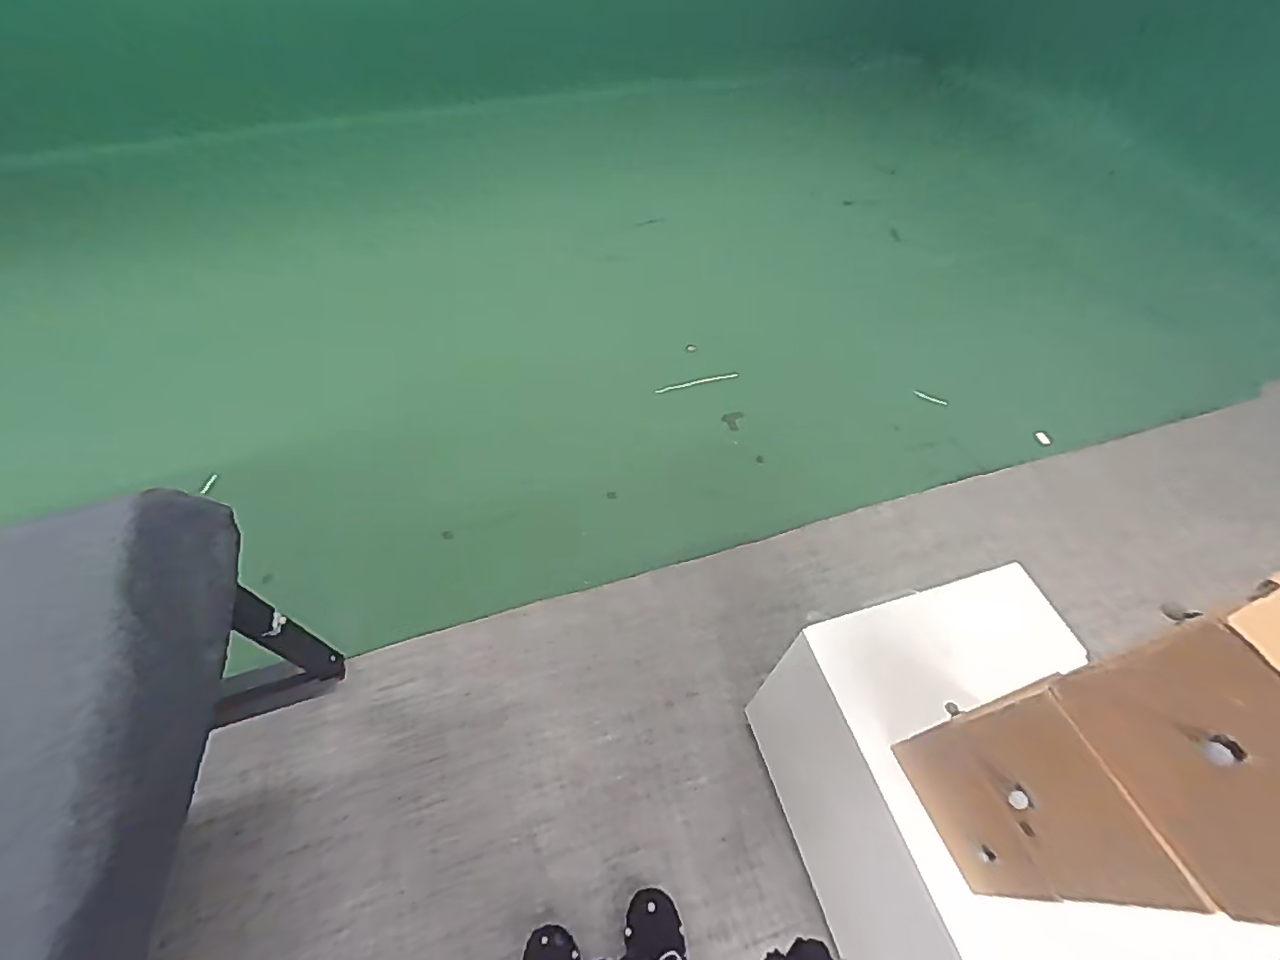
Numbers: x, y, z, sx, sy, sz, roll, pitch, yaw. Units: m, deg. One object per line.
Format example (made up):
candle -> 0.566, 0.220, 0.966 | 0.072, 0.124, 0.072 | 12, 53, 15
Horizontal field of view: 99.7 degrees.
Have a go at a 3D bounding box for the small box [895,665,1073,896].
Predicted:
small box -> 0.444, 0.349, 0.636 | 0.168, 0.176, 0.179 | -17, 56, -12

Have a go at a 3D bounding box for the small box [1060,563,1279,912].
small box -> 0.451, 0.163, 0.366 | 0.168, 0.176, 0.179 | -18, 57, -12

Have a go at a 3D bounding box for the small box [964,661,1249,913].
small box -> 0.453, 0.257, 0.500 | 0.179, 0.176, 0.168 | -18, 58, -14
